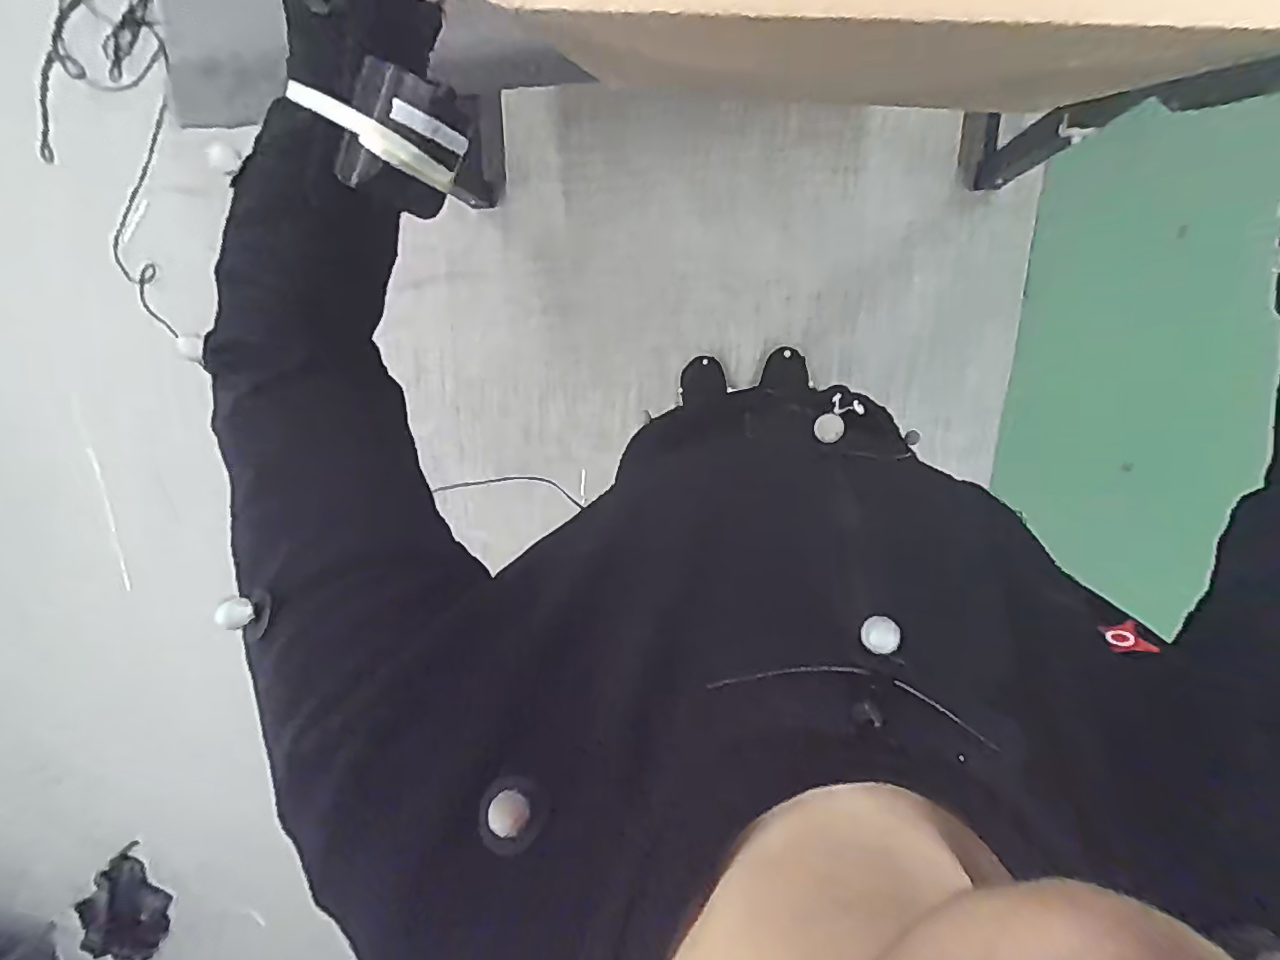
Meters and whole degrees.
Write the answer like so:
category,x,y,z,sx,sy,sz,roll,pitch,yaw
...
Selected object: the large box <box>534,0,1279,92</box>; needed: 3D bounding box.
category,x,y,z,sx,sy,sz,roll,pitch,yaw
large box,0.152,-0.435,0.310,0.408,0.320,0.320,6,120,6
